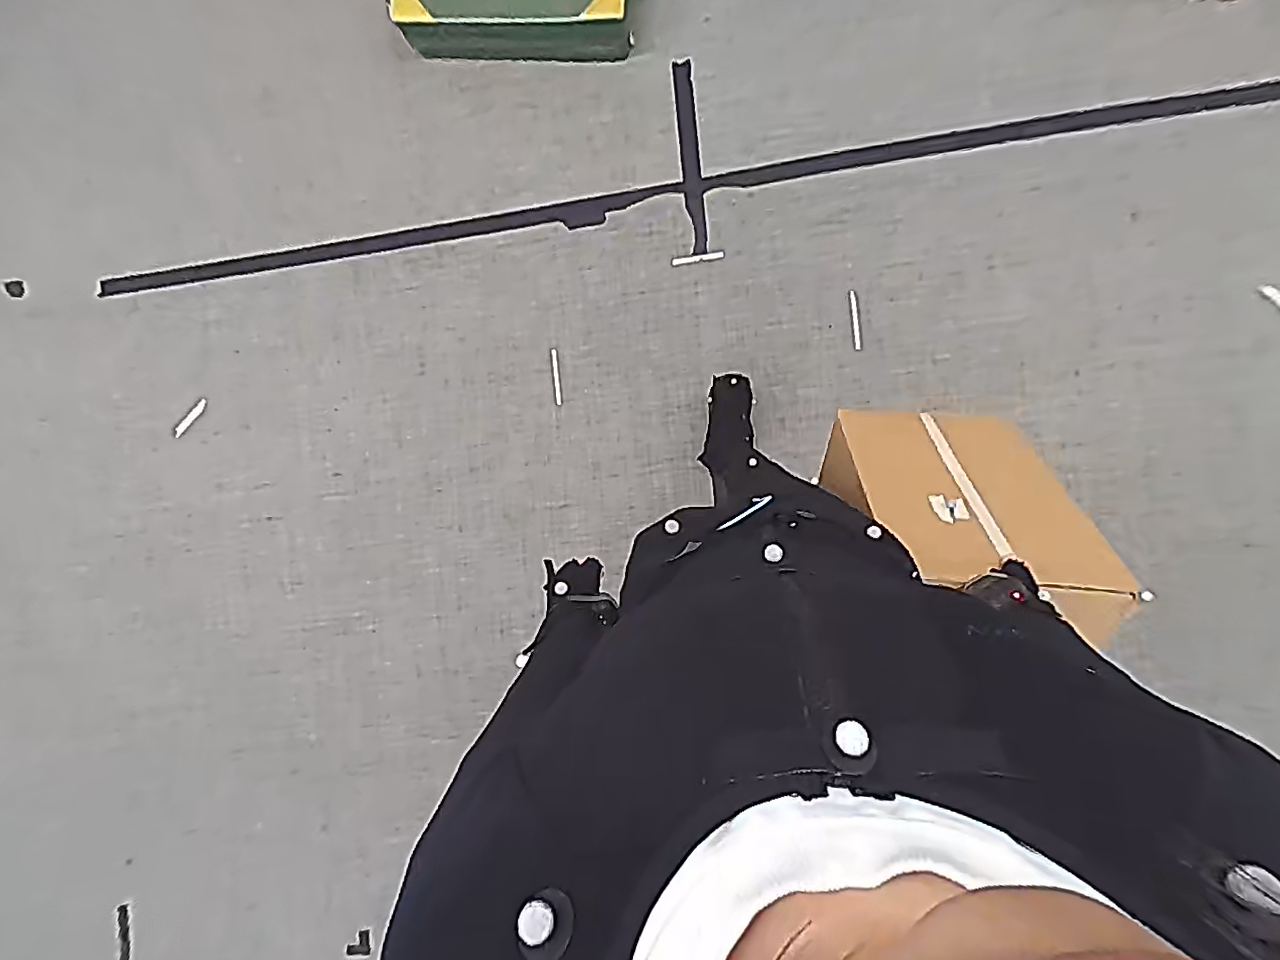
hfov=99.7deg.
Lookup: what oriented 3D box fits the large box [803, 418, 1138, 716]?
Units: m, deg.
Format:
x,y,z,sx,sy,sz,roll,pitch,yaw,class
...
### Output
x,y,z,sx,sy,sz,roll,pitch,yaw,class
0.497,0.135,0.943,0.320,0.408,0.320,3,130,4,large box
